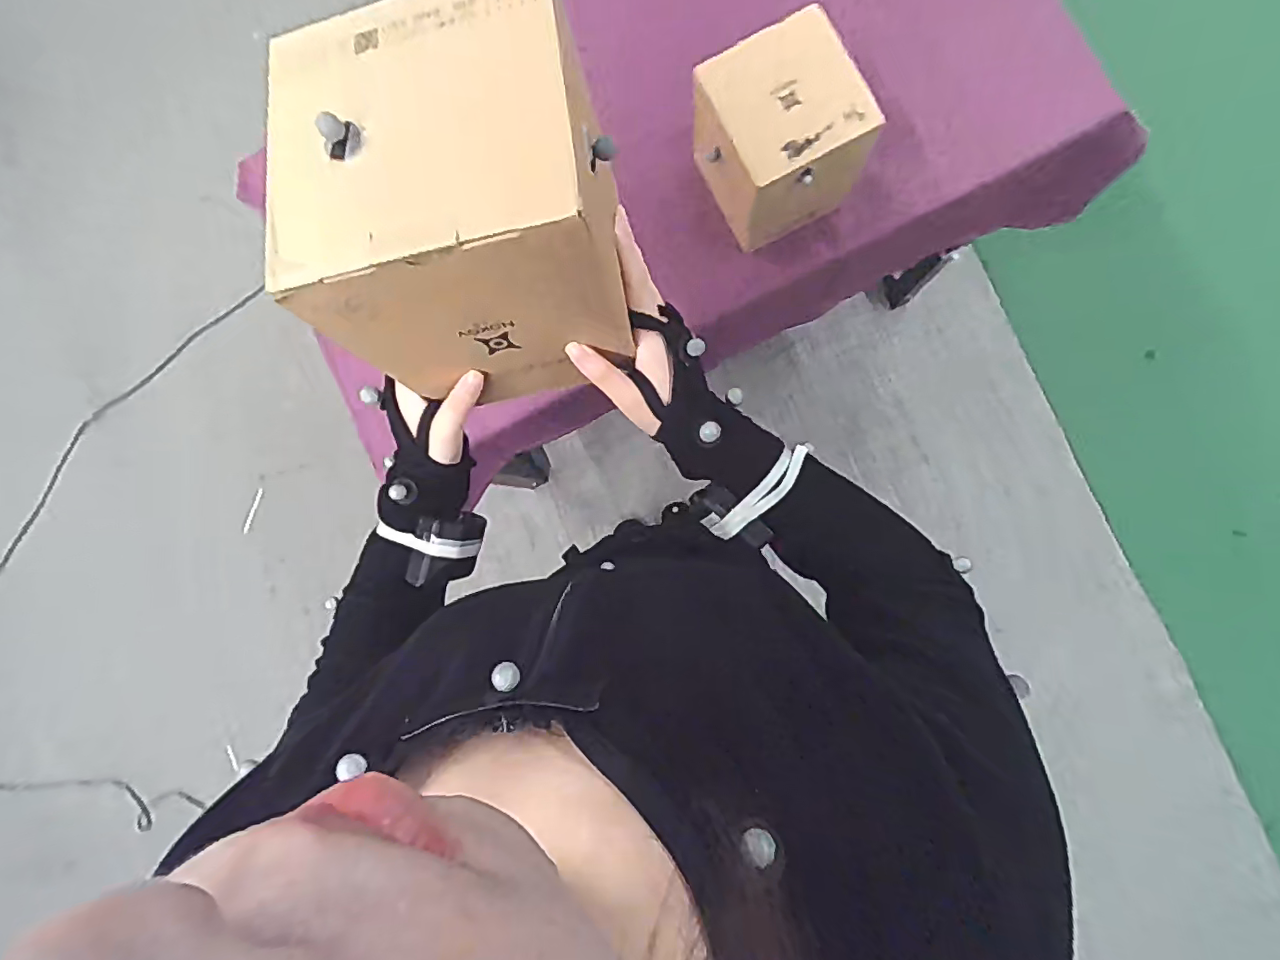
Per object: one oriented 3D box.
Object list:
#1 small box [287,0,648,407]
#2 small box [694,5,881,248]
[{"bbox_3d":[-0.097,-0.168,0.359,0.168,0.179,0.176,-9,77,8],"label":"small box"},{"bbox_3d":[0.181,-0.452,0.721,0.168,0.176,0.179,-26,84,5],"label":"small box"}]
